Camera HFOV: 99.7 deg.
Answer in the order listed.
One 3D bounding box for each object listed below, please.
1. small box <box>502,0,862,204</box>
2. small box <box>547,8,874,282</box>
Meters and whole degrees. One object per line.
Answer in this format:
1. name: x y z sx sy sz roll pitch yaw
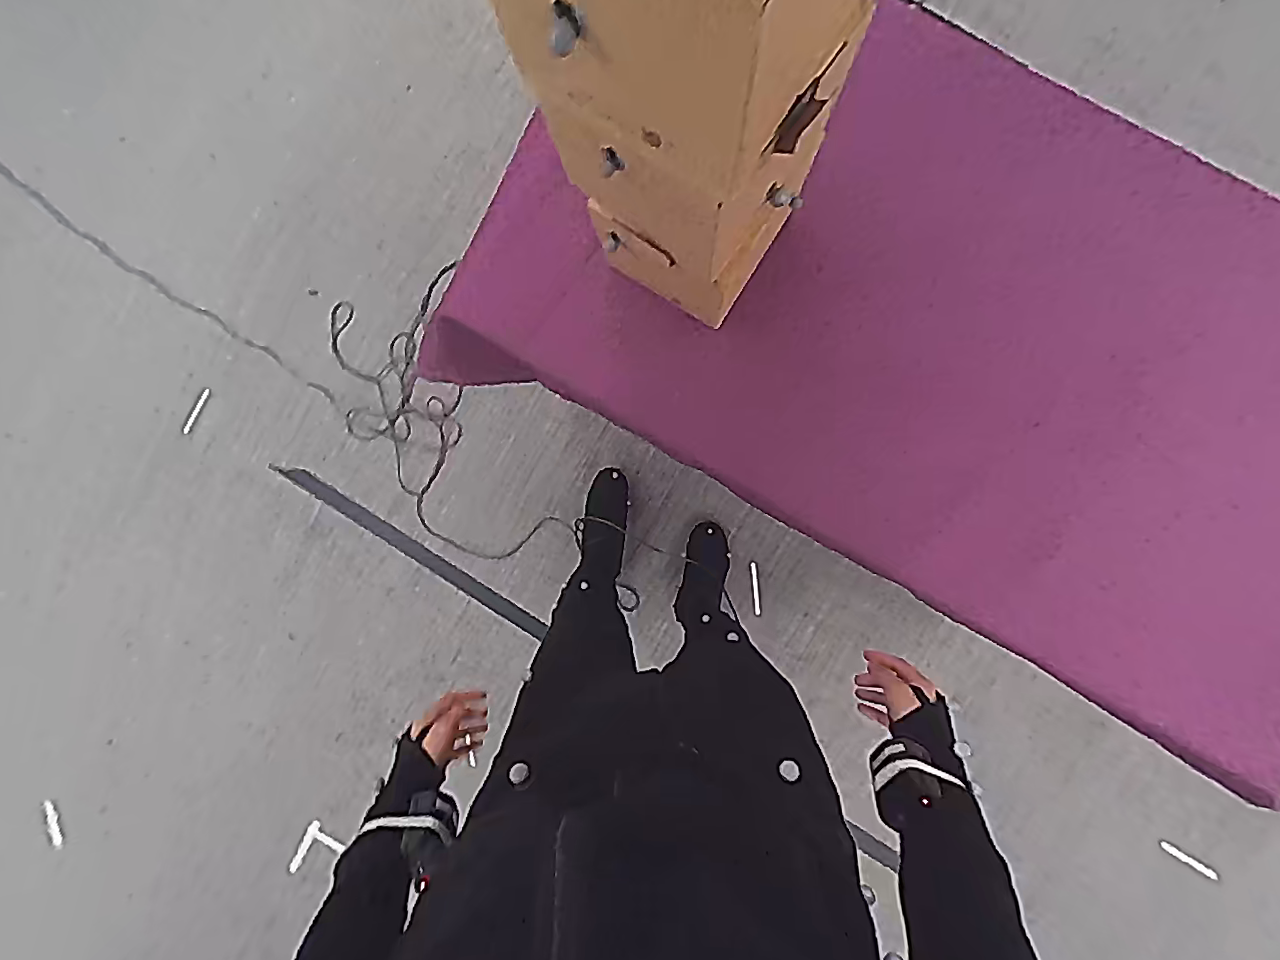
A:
1. small box: 0.033 -0.291 0.287 0.168 0.176 0.179 32 93 3
2. small box: 0.047 -0.298 0.449 0.179 0.176 0.168 39 94 3
